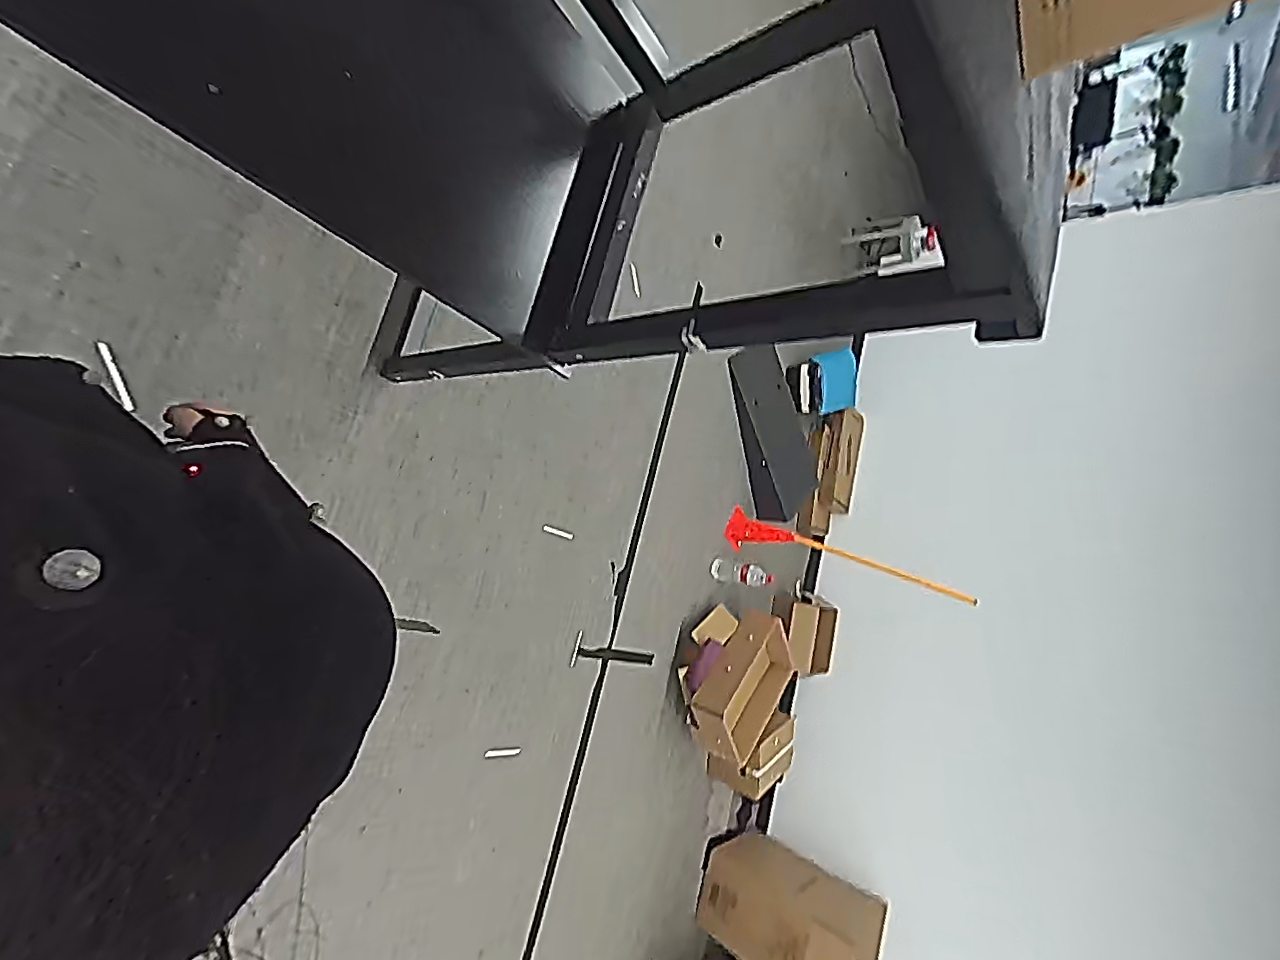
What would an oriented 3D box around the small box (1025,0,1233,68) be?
[{"bbox_3d":[0.312,-0.381,0.290,0.168,0.176,0.179,33,67,-46],"label":"small box"}]
